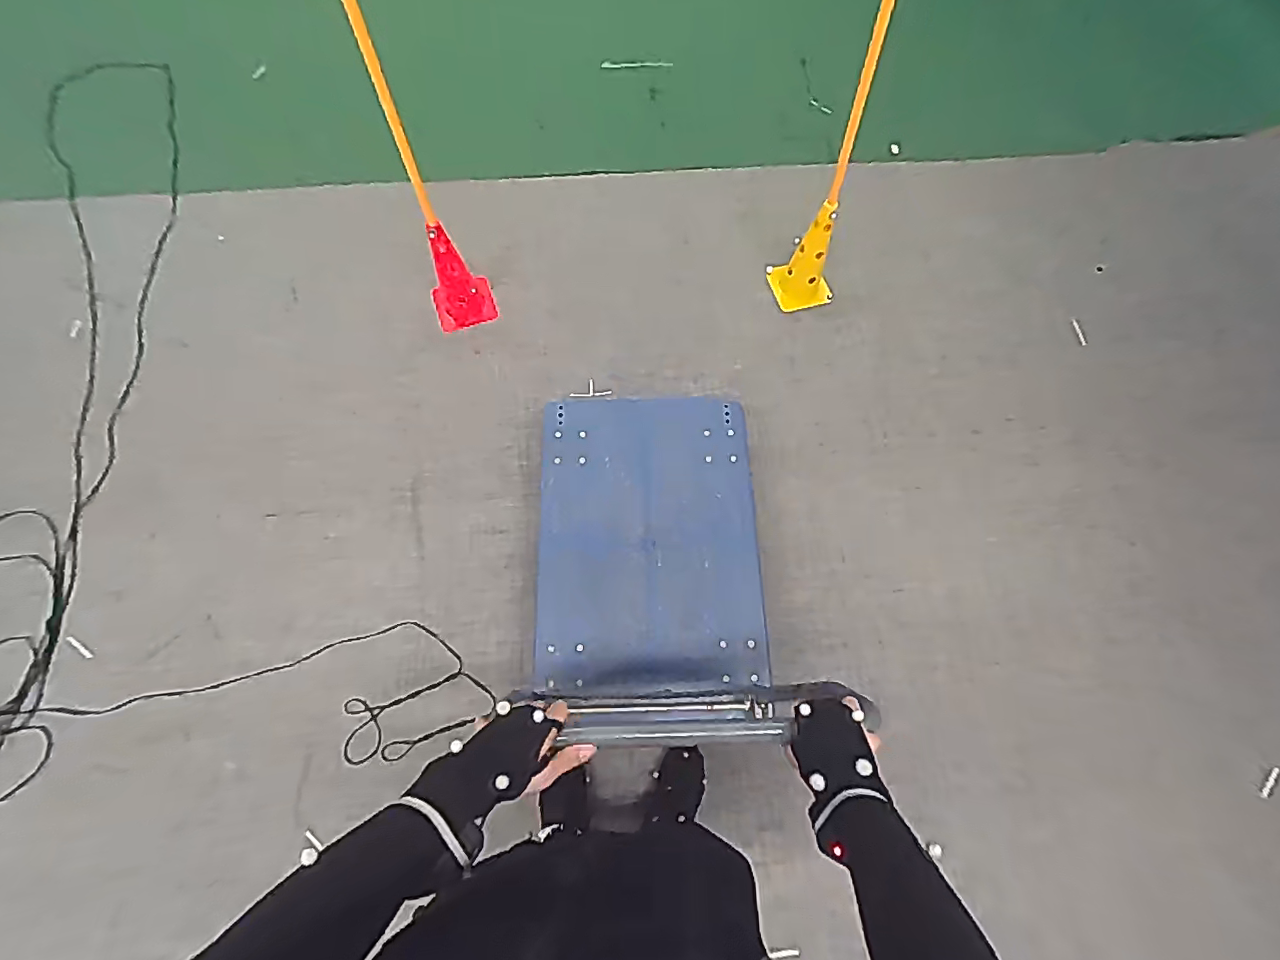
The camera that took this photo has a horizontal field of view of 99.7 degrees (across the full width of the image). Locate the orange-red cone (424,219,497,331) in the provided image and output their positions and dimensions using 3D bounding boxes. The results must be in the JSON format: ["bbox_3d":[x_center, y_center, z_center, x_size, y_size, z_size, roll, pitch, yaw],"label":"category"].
[{"bbox_3d":[-0.609,-0.676,1.722,0.199,0.360,0.198,-19,70,-7],"label":"orange-red cone"}]
